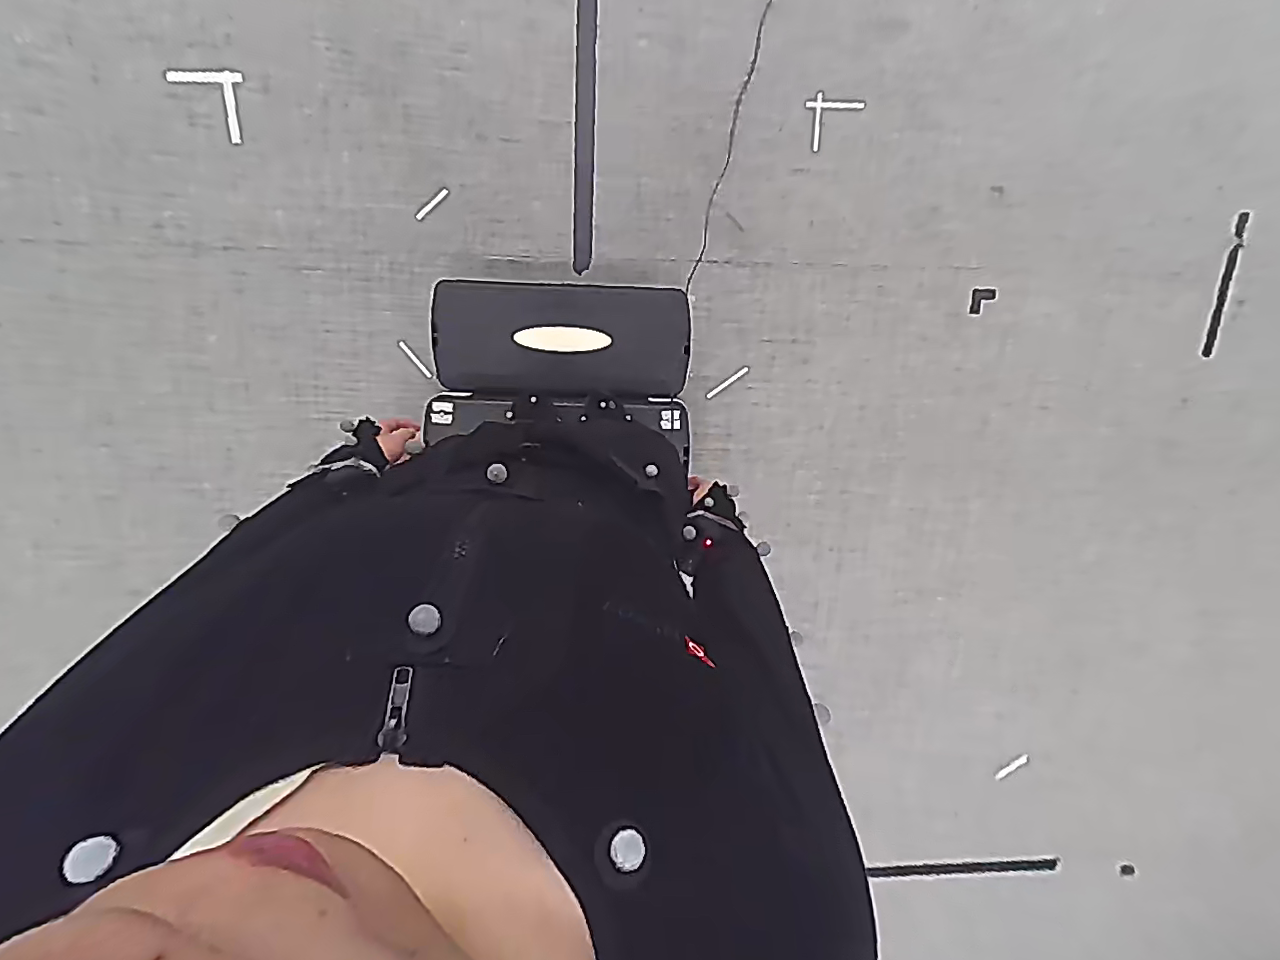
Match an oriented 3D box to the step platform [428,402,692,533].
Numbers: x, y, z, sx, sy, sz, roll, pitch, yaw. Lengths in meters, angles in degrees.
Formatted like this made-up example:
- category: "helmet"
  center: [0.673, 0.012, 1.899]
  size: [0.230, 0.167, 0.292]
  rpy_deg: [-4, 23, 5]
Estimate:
- category: "step platform"
  center: [-0.203, -0.035, 1.448]
  size: [0.684, 0.204, 0.286]
  rpy_deg: [5, 100, -3]
